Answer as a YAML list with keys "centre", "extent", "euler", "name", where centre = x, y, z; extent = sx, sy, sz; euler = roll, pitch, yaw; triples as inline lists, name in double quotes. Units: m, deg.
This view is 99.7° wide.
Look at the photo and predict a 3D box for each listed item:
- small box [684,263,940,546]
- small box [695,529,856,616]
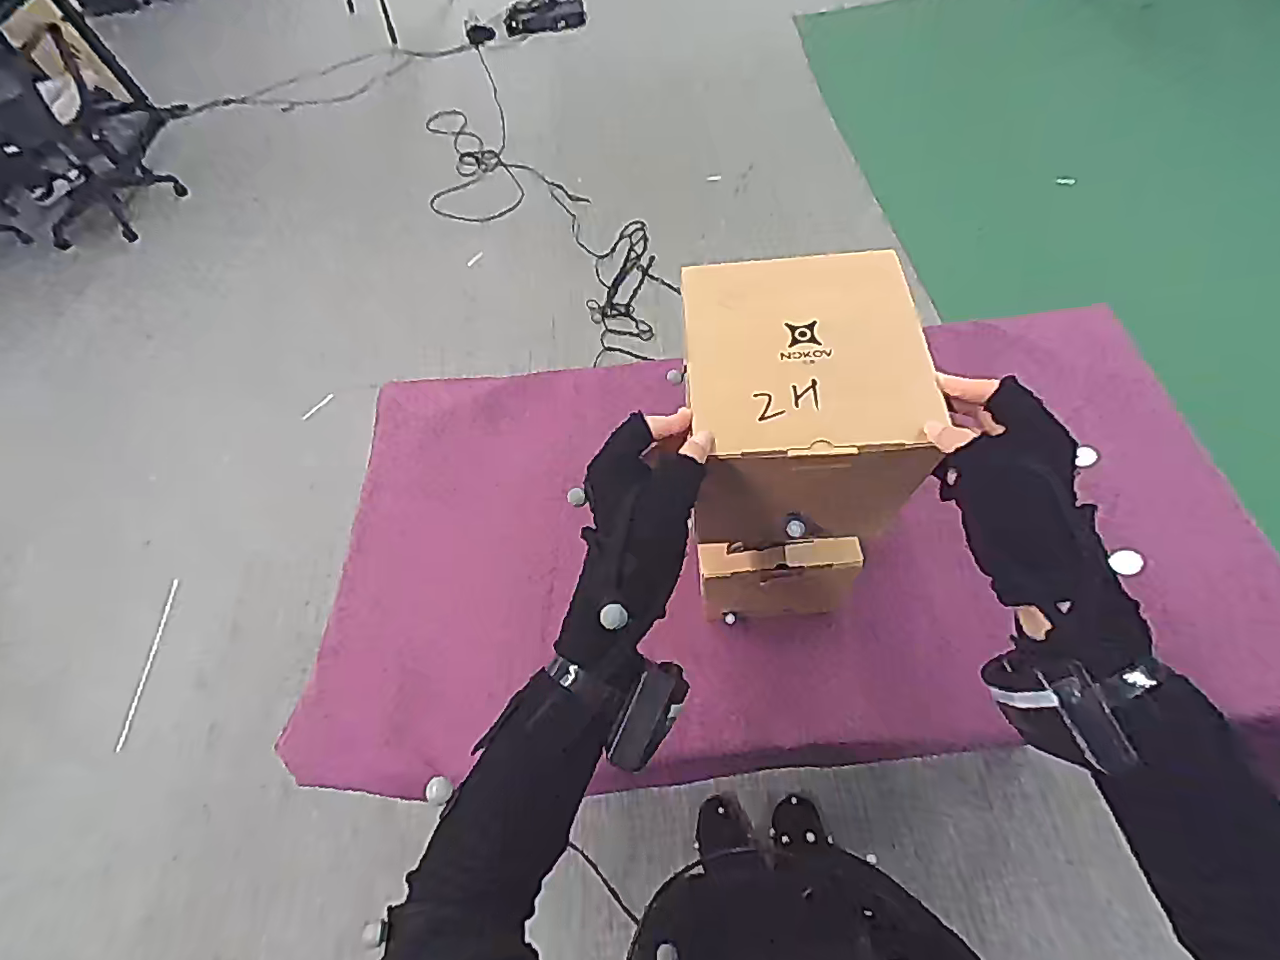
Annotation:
- centre: [0.122, -0.056, 0.466]
  extent: [0.168, 0.176, 0.179]
  euler: [-3, 63, 5]
  name: "small box"
- centre: [0.152, 0.064, 0.673]
  extent: [0.168, 0.176, 0.179]
  euler: [-5, 59, 5]
  name: "small box"
